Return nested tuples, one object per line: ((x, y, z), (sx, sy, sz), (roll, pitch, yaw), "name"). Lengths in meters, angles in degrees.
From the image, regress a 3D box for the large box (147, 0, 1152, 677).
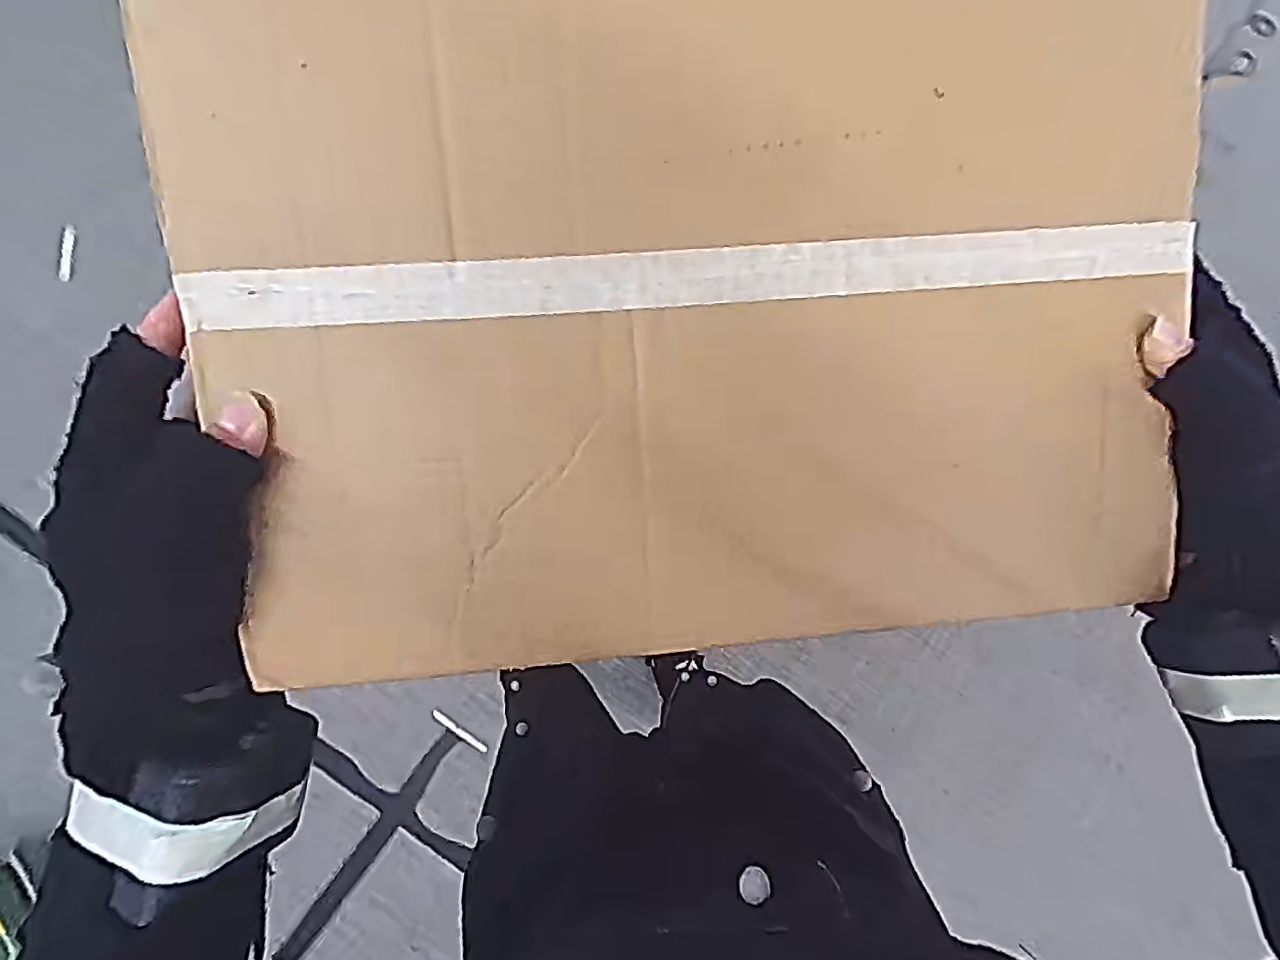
((0.014, -0.105, 0.376), (0.408, 0.320, 0.320), (-5, 98, -4), "large box")
